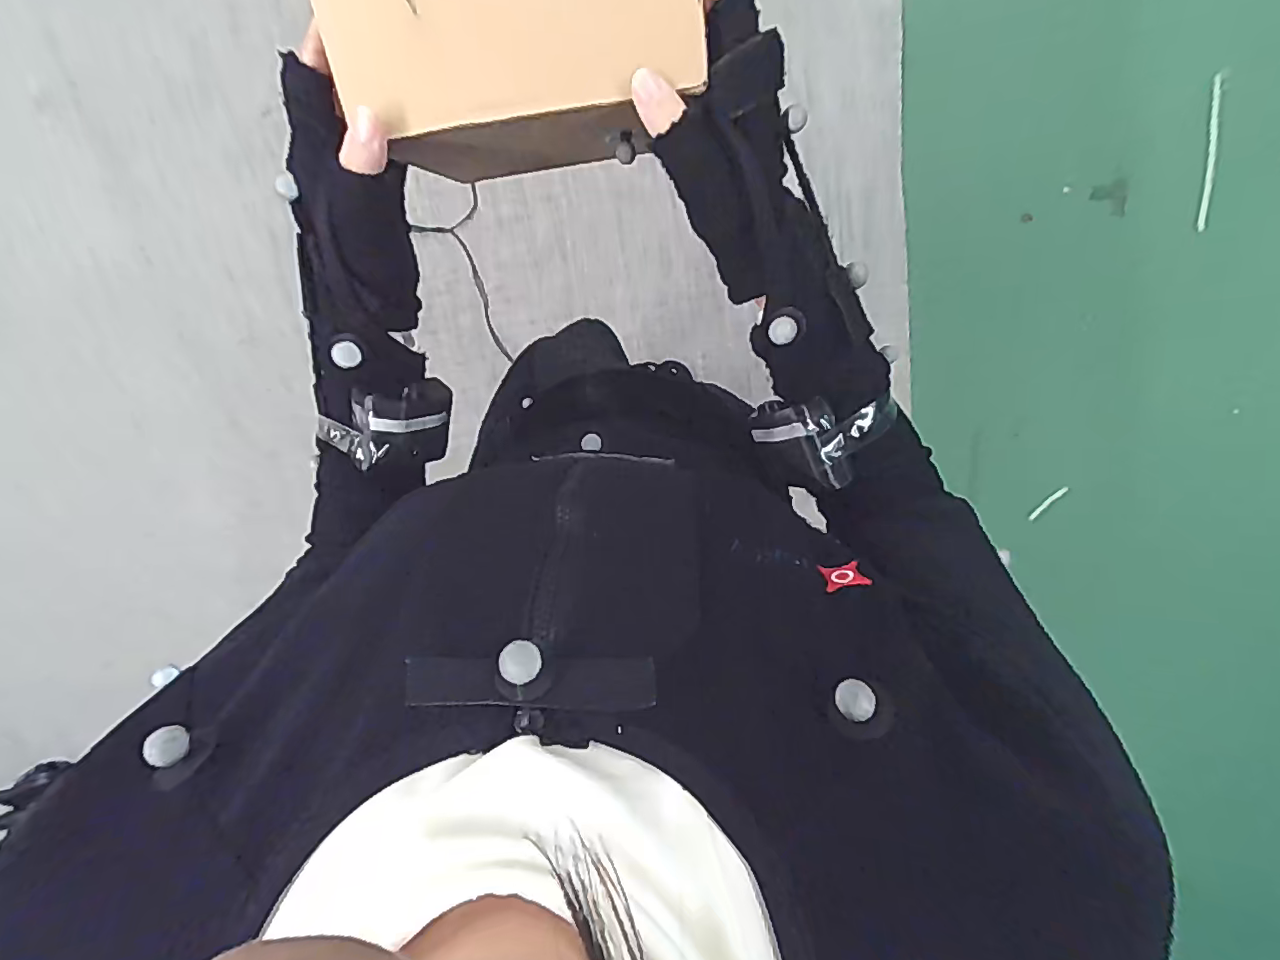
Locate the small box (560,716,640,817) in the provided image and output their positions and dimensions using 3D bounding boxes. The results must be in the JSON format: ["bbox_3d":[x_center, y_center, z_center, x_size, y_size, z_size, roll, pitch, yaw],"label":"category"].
[{"bbox_3d":[-0.097,0.732,1.392,0.179,0.176,0.168,-4,104,4],"label":"small box"}]
